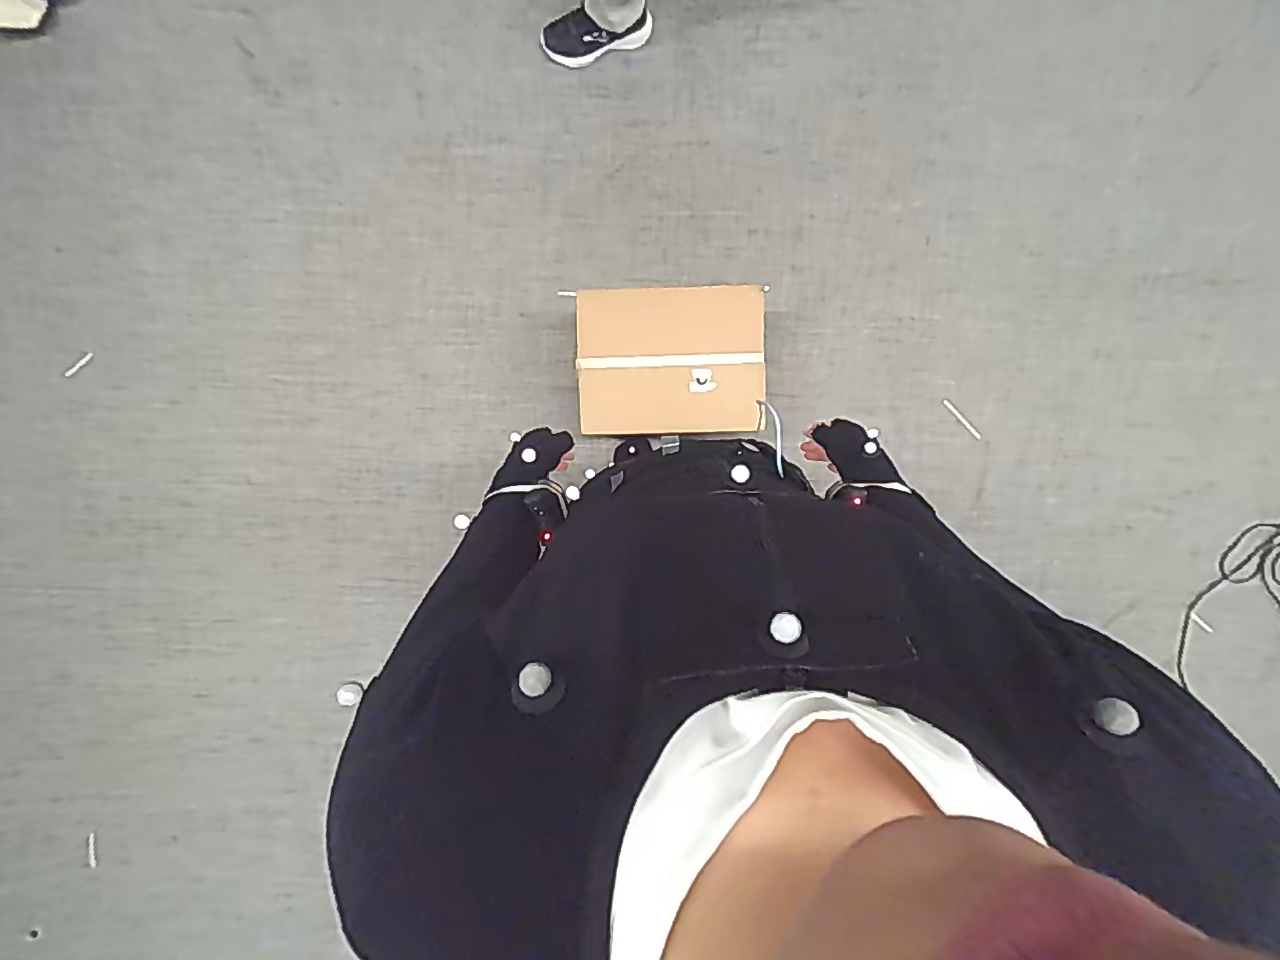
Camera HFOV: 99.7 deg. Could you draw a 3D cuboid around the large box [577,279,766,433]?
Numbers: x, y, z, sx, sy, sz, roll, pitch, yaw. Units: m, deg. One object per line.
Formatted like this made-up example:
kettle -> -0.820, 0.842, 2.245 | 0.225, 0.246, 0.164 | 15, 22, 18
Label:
large box -> 0.070, -0.279, 1.311 | 0.408, 0.320, 0.320 | -1, 95, 1
